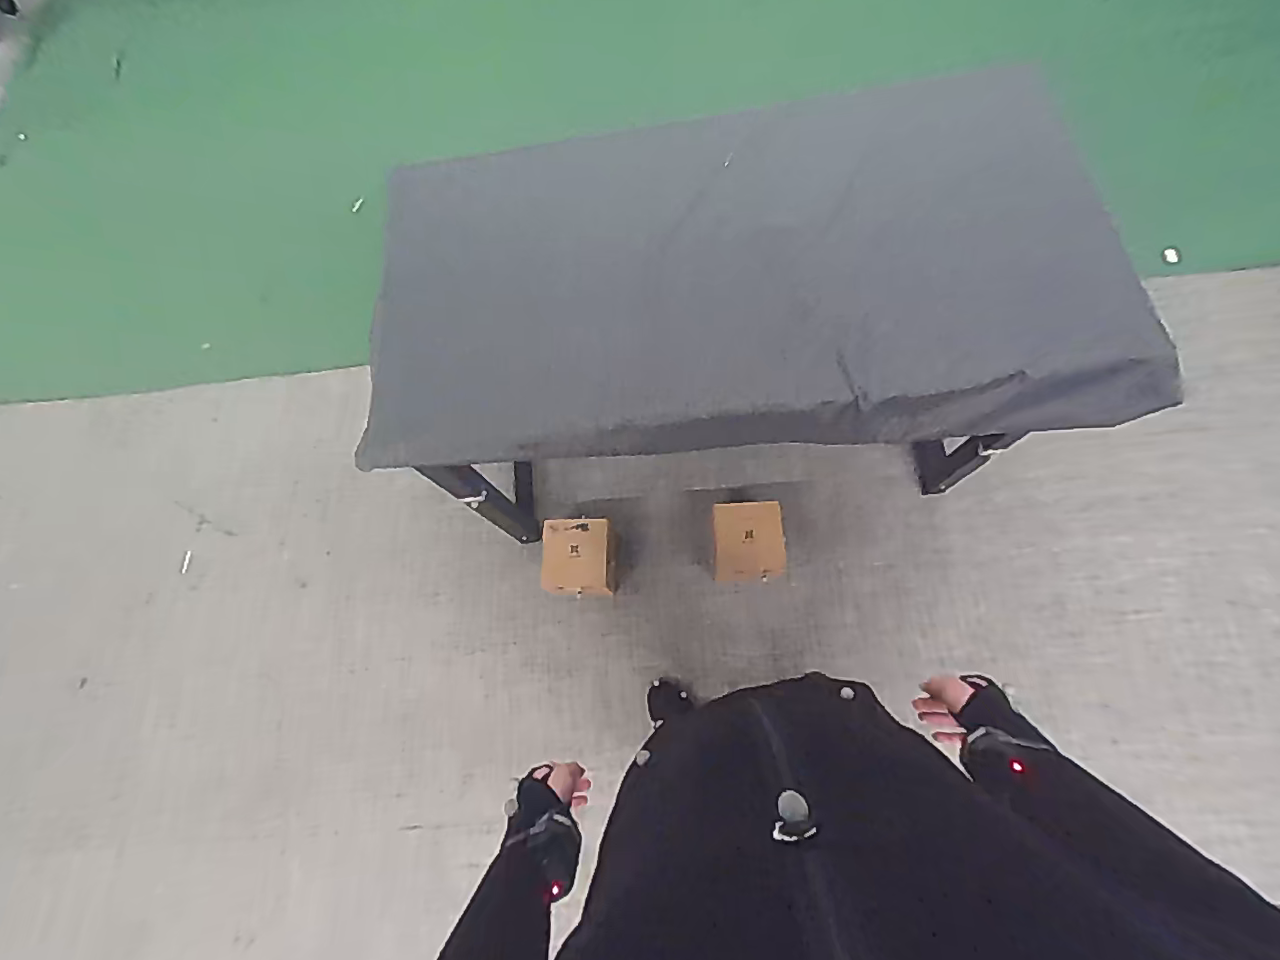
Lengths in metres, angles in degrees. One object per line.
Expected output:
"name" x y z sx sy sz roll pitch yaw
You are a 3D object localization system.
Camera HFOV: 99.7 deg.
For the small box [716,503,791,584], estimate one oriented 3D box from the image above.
"small box" 0.287 0.171 1.397 0.168 0.176 0.179 -4 69 4
